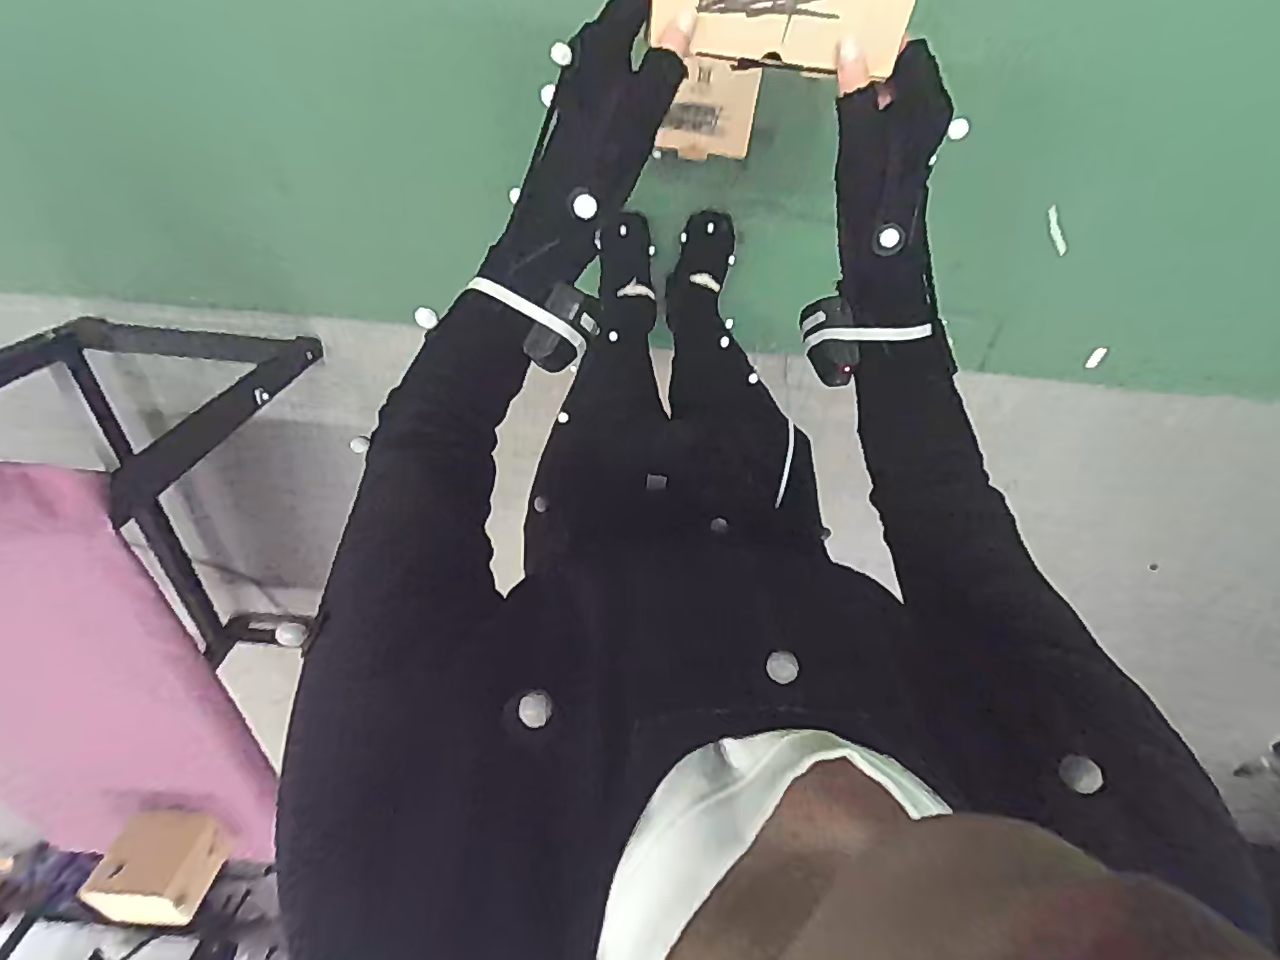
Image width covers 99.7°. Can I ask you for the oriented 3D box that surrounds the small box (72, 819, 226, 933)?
[{"bbox_3d":[-1.117,0.909,1.248,0.179,0.176,0.168,6,125,-3],"label":"small box"}]

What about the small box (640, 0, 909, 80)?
[{"bbox_3d":[0.090,-0.391,0.358,0.168,0.176,0.179,3,131,-6],"label":"small box"}]

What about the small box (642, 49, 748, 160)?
[{"bbox_3d":[0.093,-0.705,0.994,0.168,0.176,0.179,5,125,-3],"label":"small box"}]
